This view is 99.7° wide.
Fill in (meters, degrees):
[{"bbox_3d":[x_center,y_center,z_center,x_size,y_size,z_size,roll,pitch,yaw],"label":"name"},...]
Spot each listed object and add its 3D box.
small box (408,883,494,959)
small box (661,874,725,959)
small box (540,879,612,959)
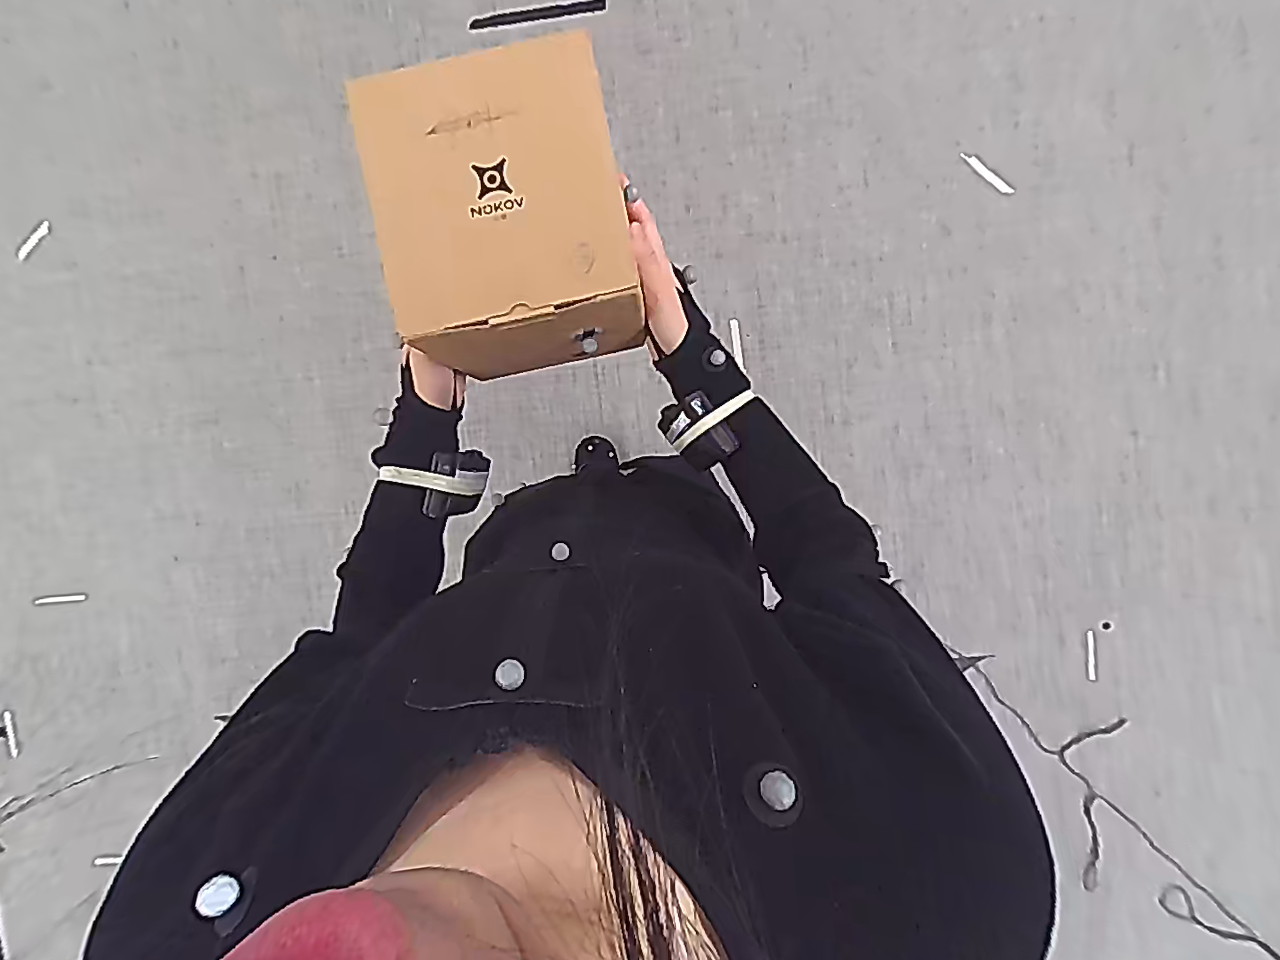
[{"bbox_3d":[-0.527,1.275,1.511,0.179,0.176,0.168,11,93,-1],"label":"small box"},{"bbox_3d":[0.145,1.232,1.489,0.168,0.176,0.179,-4,95,2],"label":"small box"},{"bbox_3d":[-0.171,1.256,1.498,0.168,0.176,0.179,-6,93,2],"label":"small box"}]
